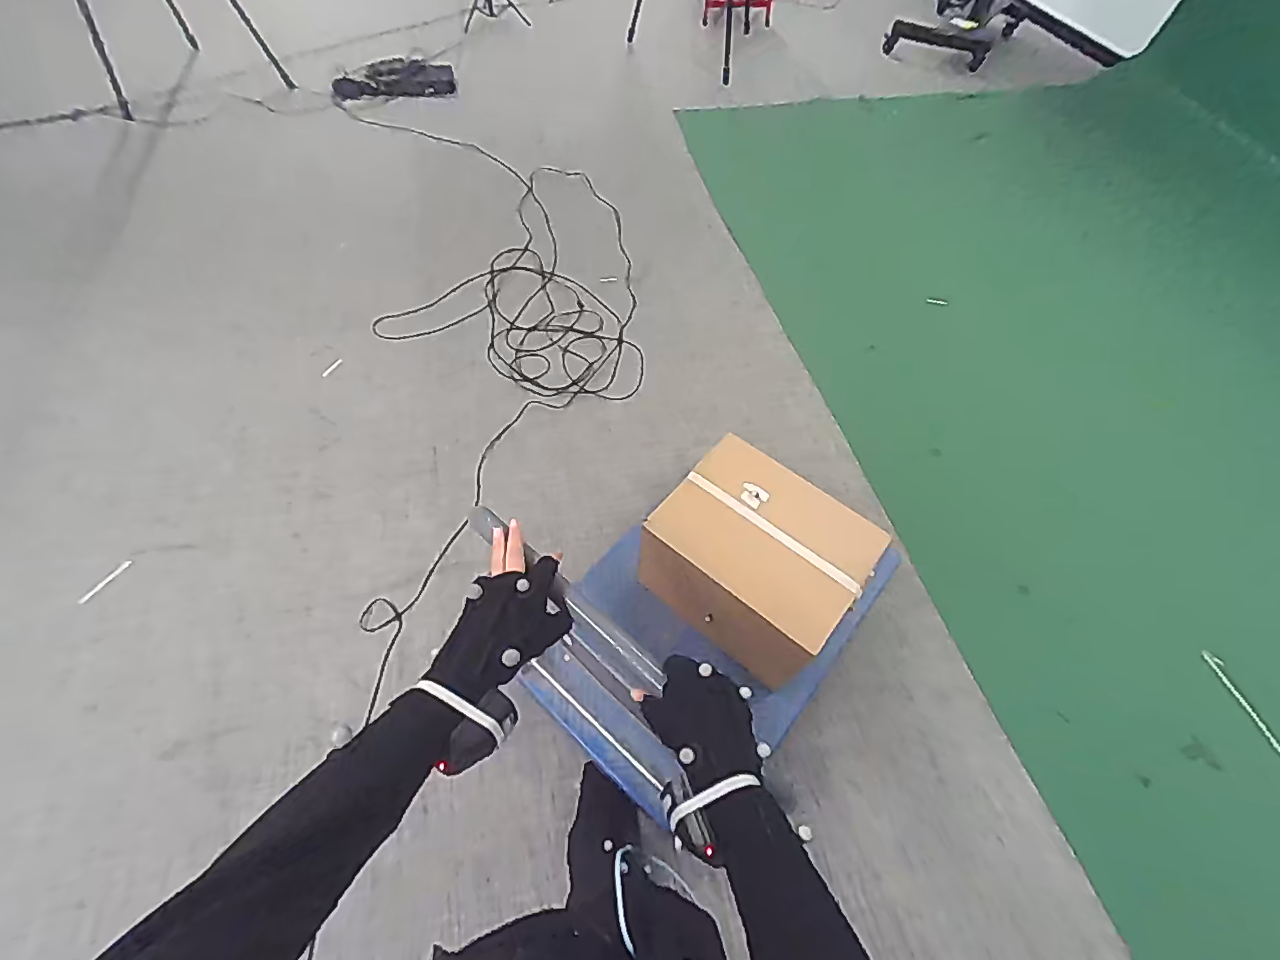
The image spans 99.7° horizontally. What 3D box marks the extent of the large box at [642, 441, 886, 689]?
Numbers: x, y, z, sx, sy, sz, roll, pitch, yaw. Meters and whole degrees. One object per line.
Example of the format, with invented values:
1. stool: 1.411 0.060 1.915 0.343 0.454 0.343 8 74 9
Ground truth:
1. large box: 0.251 0.194 1.216 0.408 0.320 0.320 36 62 20
